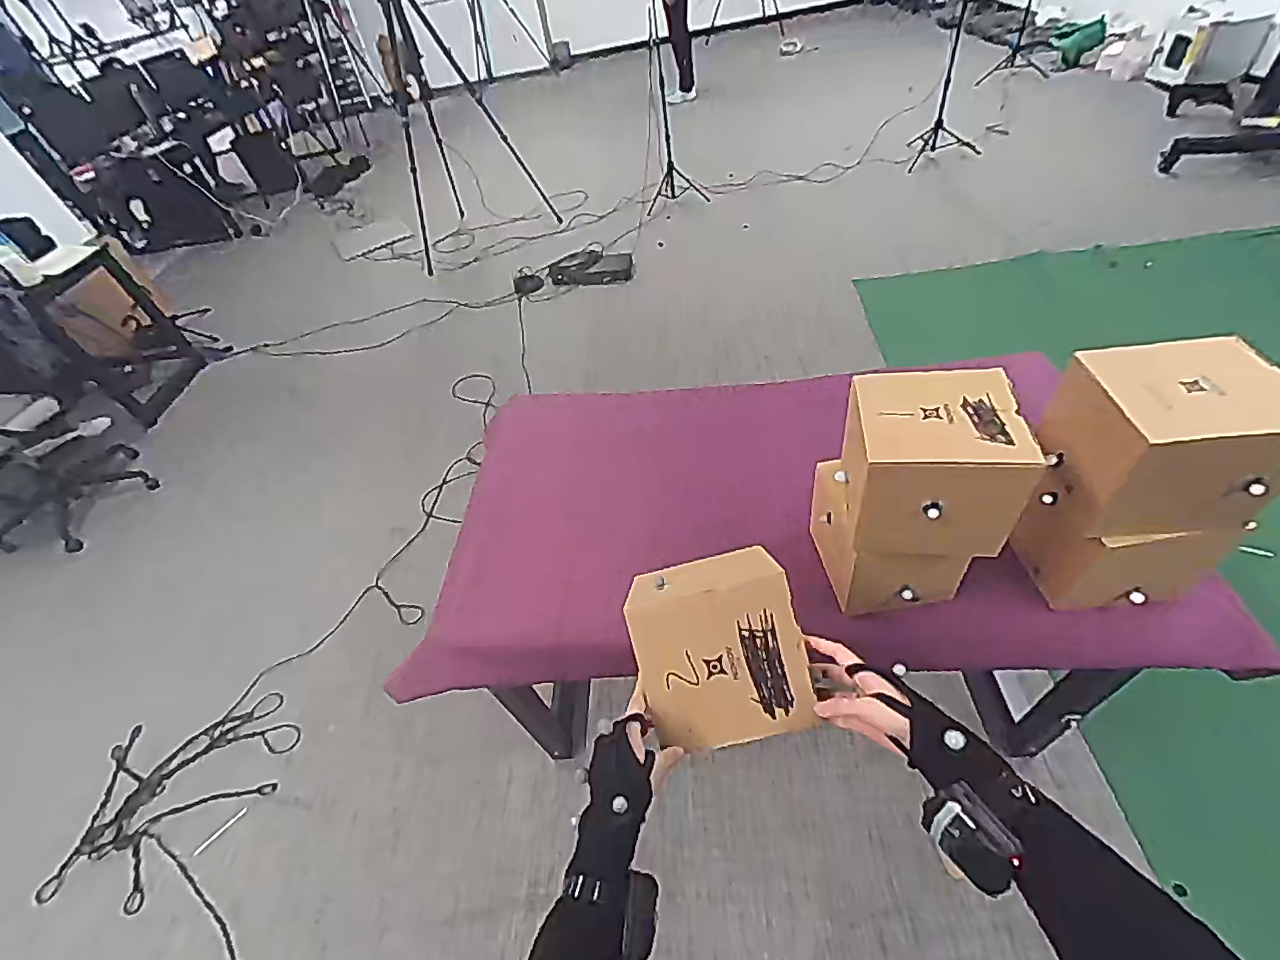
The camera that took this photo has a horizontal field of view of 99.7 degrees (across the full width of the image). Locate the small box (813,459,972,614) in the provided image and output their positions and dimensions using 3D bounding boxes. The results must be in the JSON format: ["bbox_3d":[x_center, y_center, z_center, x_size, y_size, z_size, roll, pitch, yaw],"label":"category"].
[{"bbox_3d":[0.369,0.077,0.819,0.168,0.176,0.179,-10,47,4],"label":"small box"}]

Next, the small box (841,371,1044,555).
[{"bbox_3d":[0.359,-0.019,0.682,0.179,0.176,0.168,0,47,14],"label":"small box"}]

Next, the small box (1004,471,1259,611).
[{"bbox_3d":[0.662,0.067,0.761,0.179,0.176,0.168,-8,46,6],"label":"small box"}]

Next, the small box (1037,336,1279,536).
[{"bbox_3d":[0.624,-0.048,0.650,0.179,0.176,0.168,-4,47,10],"label":"small box"}]
